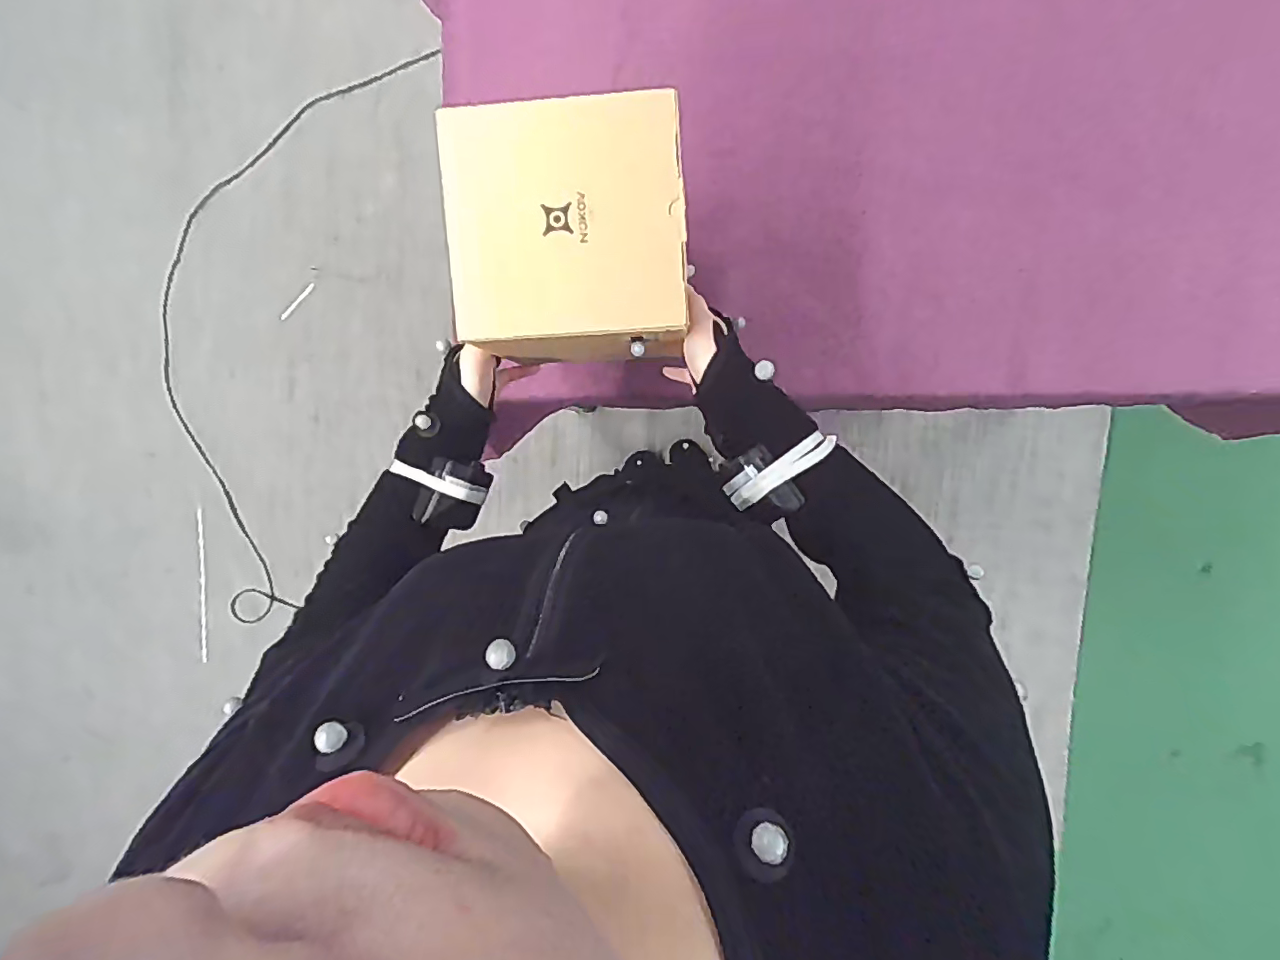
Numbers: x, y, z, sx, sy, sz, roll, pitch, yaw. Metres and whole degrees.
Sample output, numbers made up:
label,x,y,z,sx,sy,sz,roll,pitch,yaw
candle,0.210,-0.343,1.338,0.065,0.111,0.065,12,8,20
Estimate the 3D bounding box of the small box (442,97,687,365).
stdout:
label,x,y,z,sx,sy,sz,roll,pitch,yaw
small box,-0.051,-0.196,0.476,0.179,0.176,0.168,-3,96,2
